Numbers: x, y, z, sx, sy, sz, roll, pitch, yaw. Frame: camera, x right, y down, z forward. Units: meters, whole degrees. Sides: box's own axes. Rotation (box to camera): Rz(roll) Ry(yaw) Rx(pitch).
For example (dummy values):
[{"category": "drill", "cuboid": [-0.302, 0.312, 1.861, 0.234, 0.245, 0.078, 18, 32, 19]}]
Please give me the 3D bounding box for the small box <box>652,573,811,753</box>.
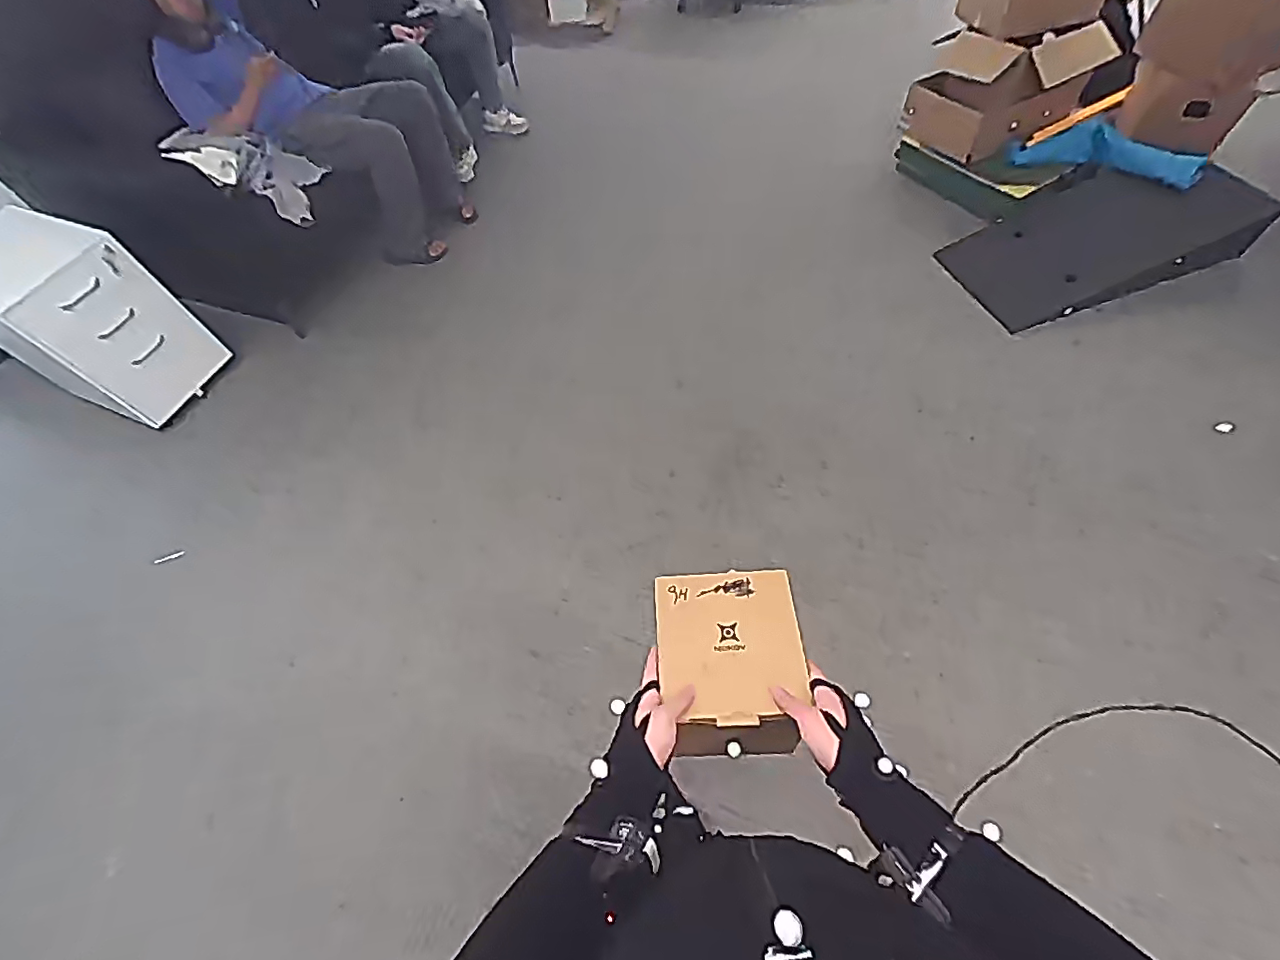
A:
[{"category": "small box", "cuboid": [0.108, 0.242, 0.697, 0.168, 0.176, 0.179, -6, 52, 1]}]
